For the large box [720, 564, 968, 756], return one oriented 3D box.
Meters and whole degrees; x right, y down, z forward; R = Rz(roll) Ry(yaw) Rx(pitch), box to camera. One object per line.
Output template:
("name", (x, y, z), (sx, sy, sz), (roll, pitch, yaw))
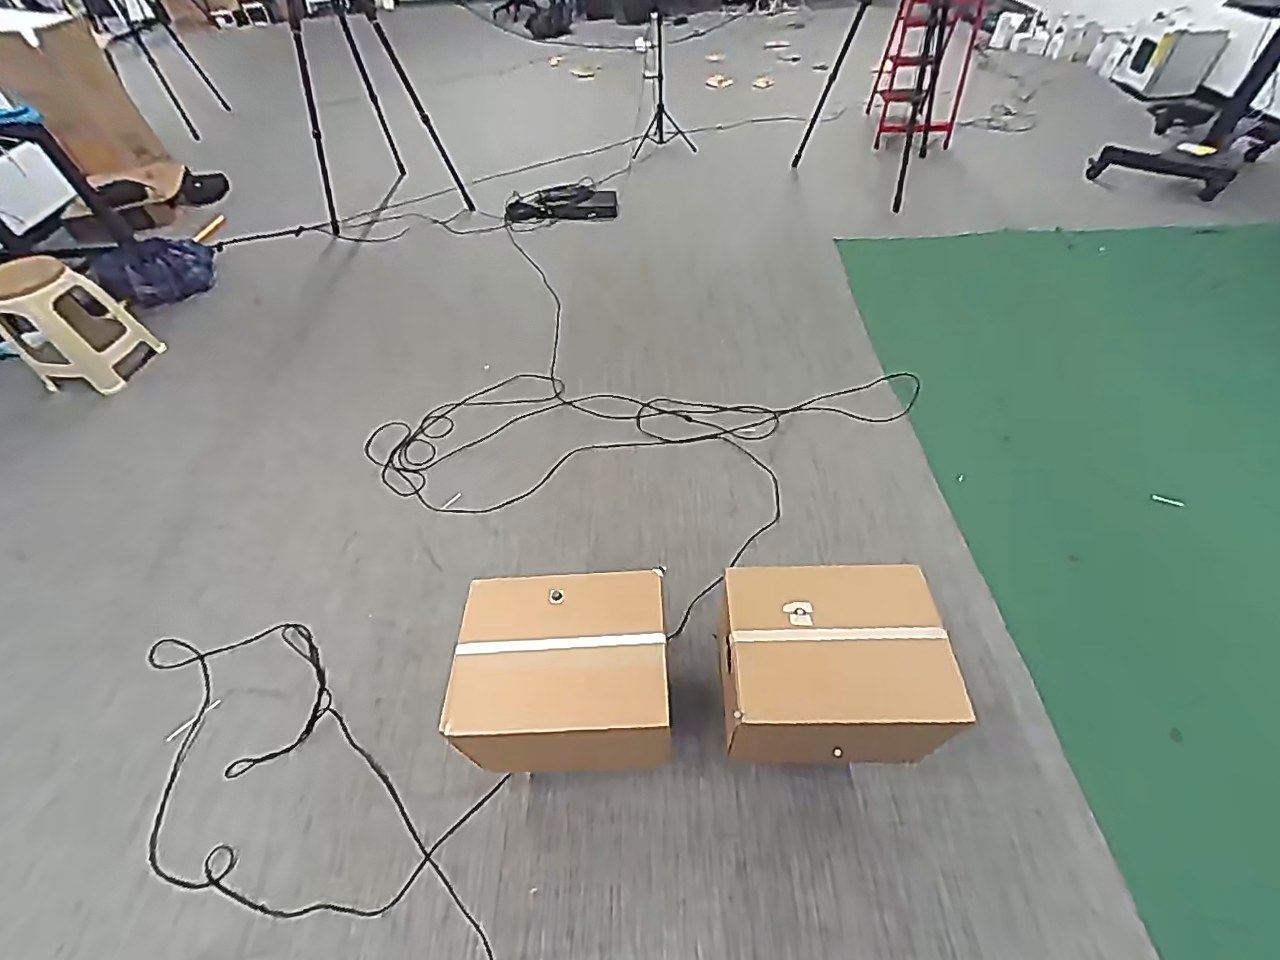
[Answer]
("large box", (0.390, 0.395, 1.162), (0.408, 0.320, 0.320), (-2, 51, 3))
